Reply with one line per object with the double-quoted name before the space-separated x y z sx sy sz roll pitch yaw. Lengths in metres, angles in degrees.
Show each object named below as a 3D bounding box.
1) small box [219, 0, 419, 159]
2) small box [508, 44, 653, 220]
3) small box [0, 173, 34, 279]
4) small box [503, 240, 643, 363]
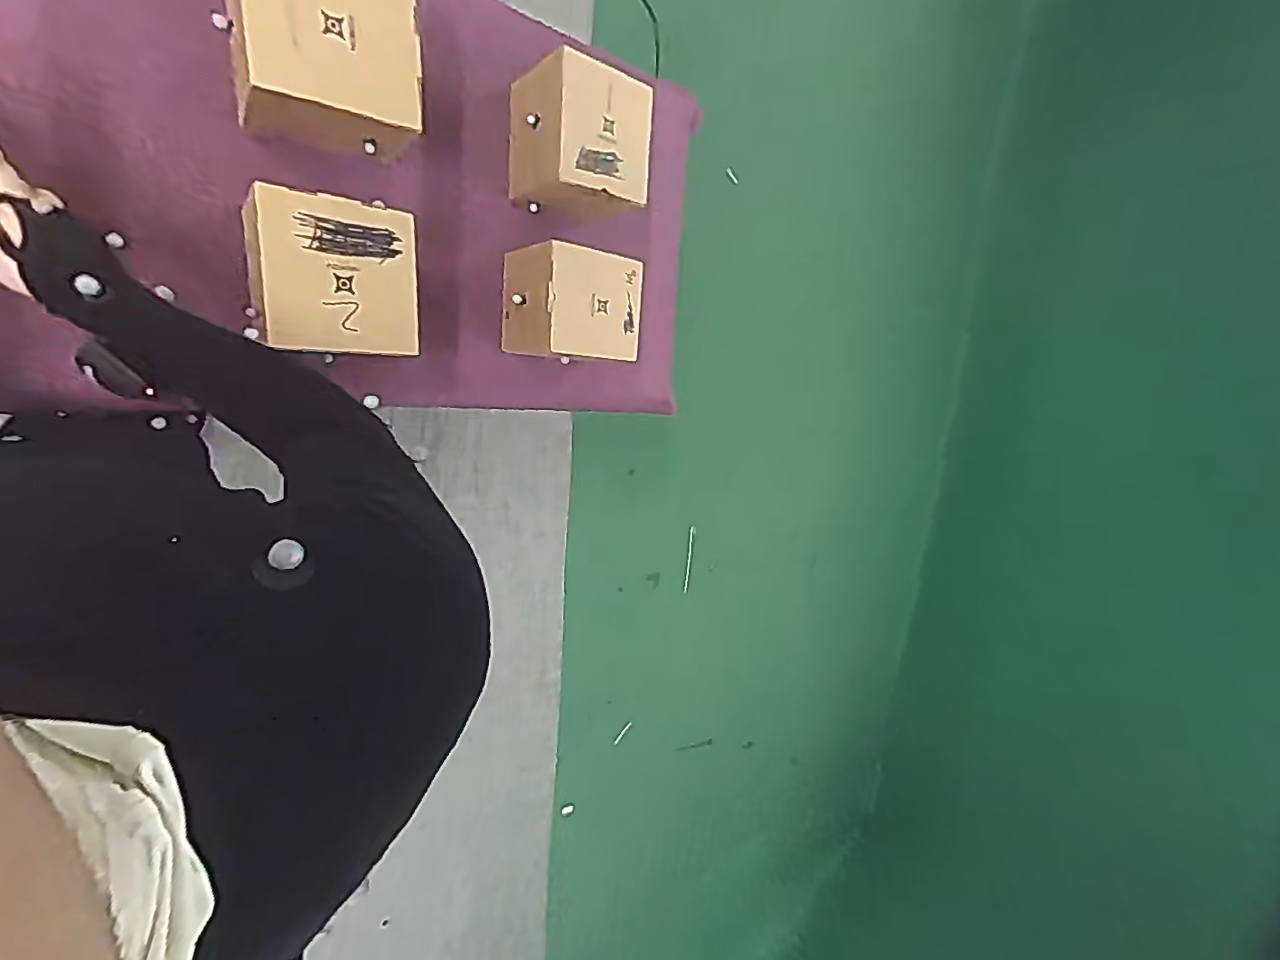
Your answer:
"small box" -0.380 -0.504 0.640 0.179 0.176 0.168 -8 106 -38
"small box" -0.100 -0.534 0.864 0.168 0.176 0.179 -5 104 -39
"small box" -0.672 -0.268 0.454 0.168 0.176 0.179 -20 114 -36
"small box" -0.118 -0.288 0.912 0.179 0.176 0.168 -3 103 -38
